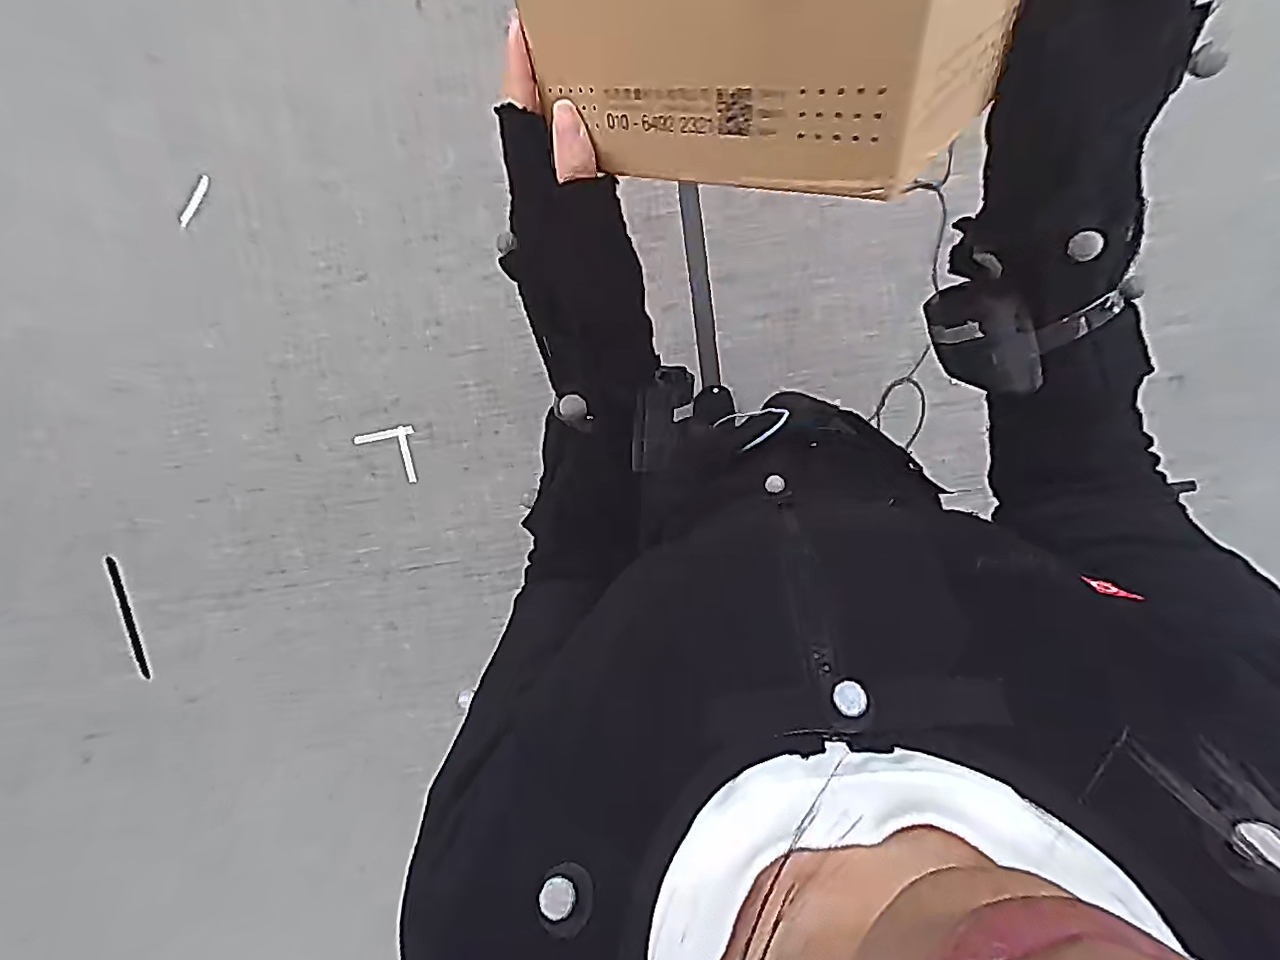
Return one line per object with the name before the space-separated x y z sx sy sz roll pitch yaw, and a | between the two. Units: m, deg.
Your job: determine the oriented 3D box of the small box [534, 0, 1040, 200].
small box | 0.063 -0.232 0.212 0.168 0.176 0.179 28 58 32
